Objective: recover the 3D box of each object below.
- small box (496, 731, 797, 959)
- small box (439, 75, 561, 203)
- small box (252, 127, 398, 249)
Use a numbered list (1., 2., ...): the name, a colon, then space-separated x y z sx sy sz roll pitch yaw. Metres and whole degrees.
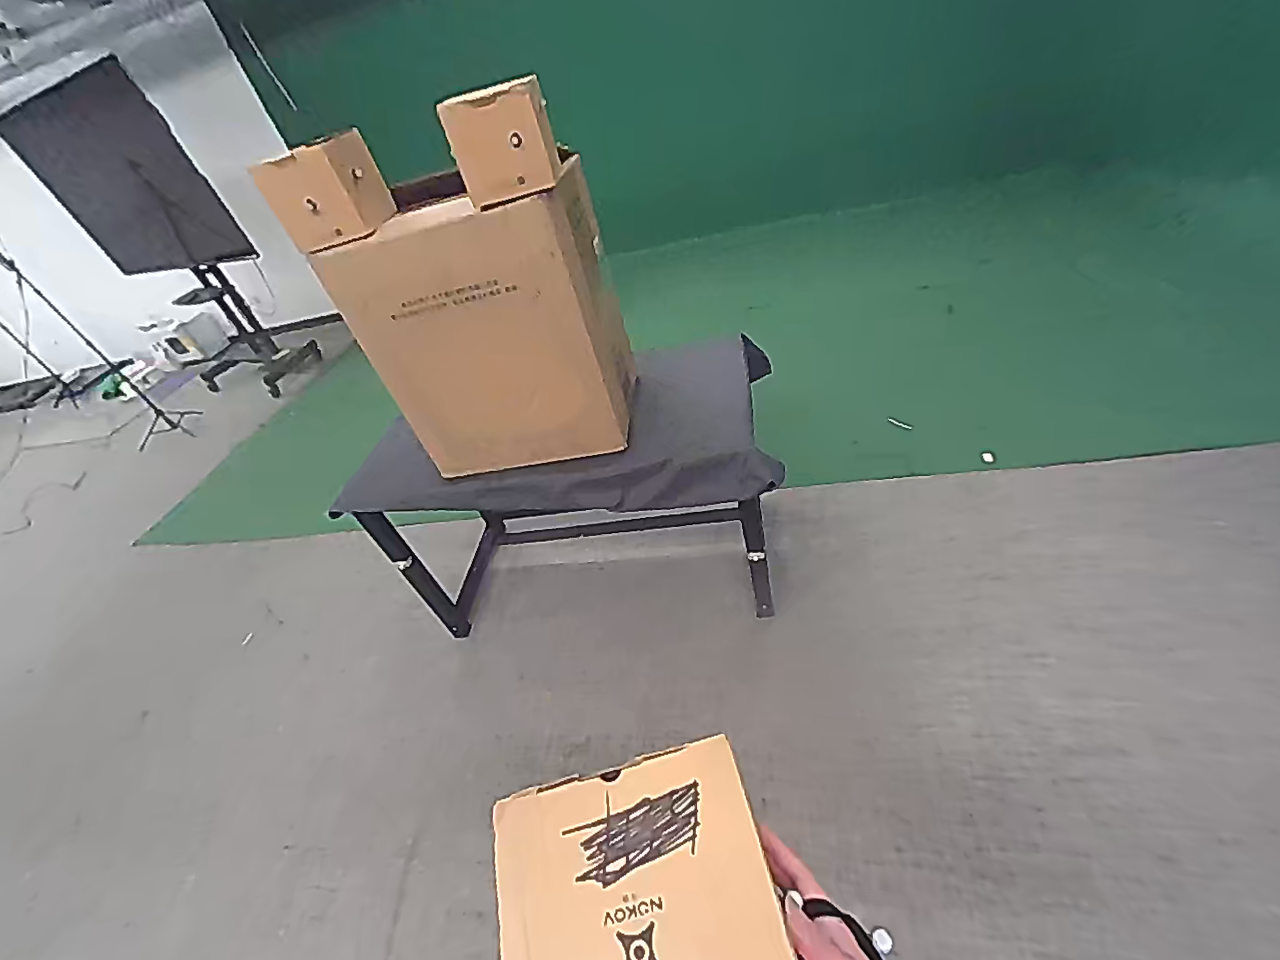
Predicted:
1. small box: 0.013 0.302 0.374 0.168 0.176 0.179 -17 53 1
2. small box: -0.255 -0.649 1.036 0.168 0.176 0.179 -11 39 5
3. small box: -0.639 -0.601 1.126 0.168 0.176 0.179 -11 40 10
